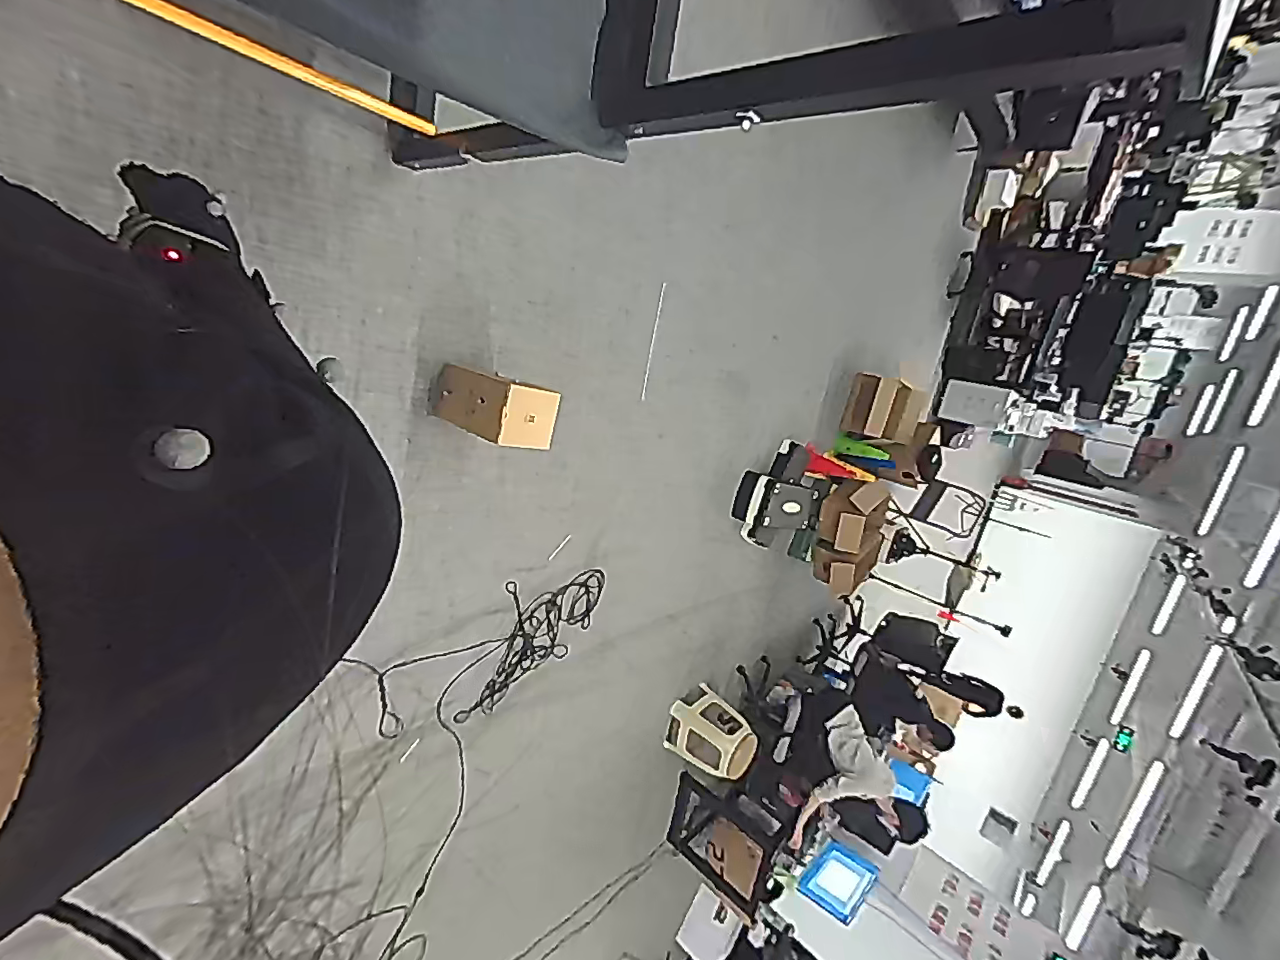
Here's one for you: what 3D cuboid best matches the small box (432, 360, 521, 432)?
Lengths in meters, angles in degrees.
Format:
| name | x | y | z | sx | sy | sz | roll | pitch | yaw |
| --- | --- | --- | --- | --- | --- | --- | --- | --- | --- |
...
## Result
| name | x | y | z | sx | sy | sz | roll | pitch | yaw |
| --- | --- | --- | --- | --- | --- | --- | --- | --- | --- |
| small box | -0.489 | -0.251 | 1.612 | 0.179 | 0.176 | 0.168 | 4 | 104 | -50 |
